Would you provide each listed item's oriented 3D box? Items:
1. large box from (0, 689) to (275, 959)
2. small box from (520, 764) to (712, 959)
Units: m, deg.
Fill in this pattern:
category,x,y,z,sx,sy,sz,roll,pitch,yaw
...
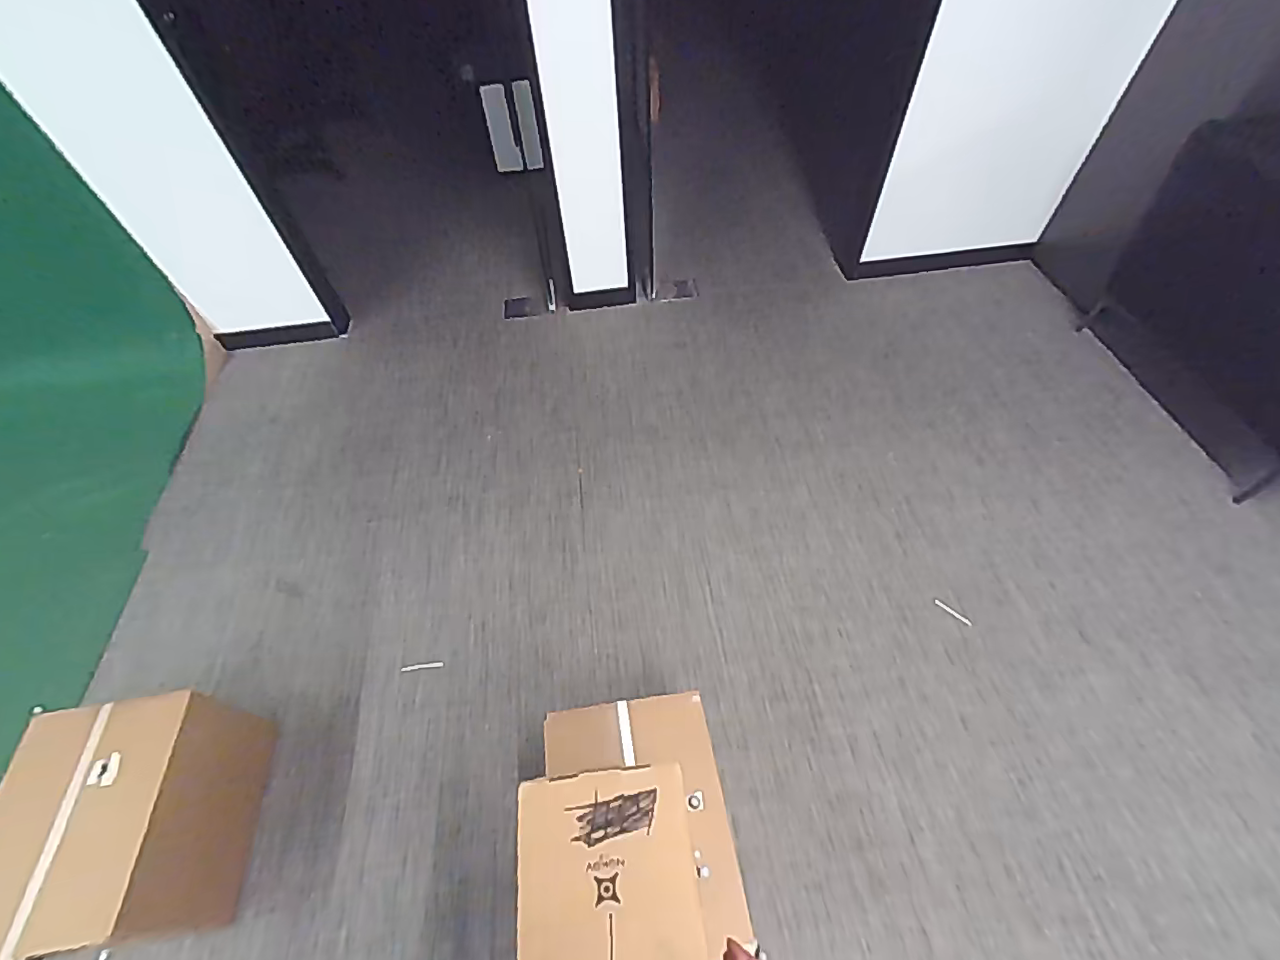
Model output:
category,x,y,z,sx,sy,sz,roll,pitch,yaw
large box,-1.025,0.695,1.096,0.320,0.320,0.408,-8,53,-3
small box,-0.024,0.410,0.557,0.168,0.176,0.179,-7,56,-1
